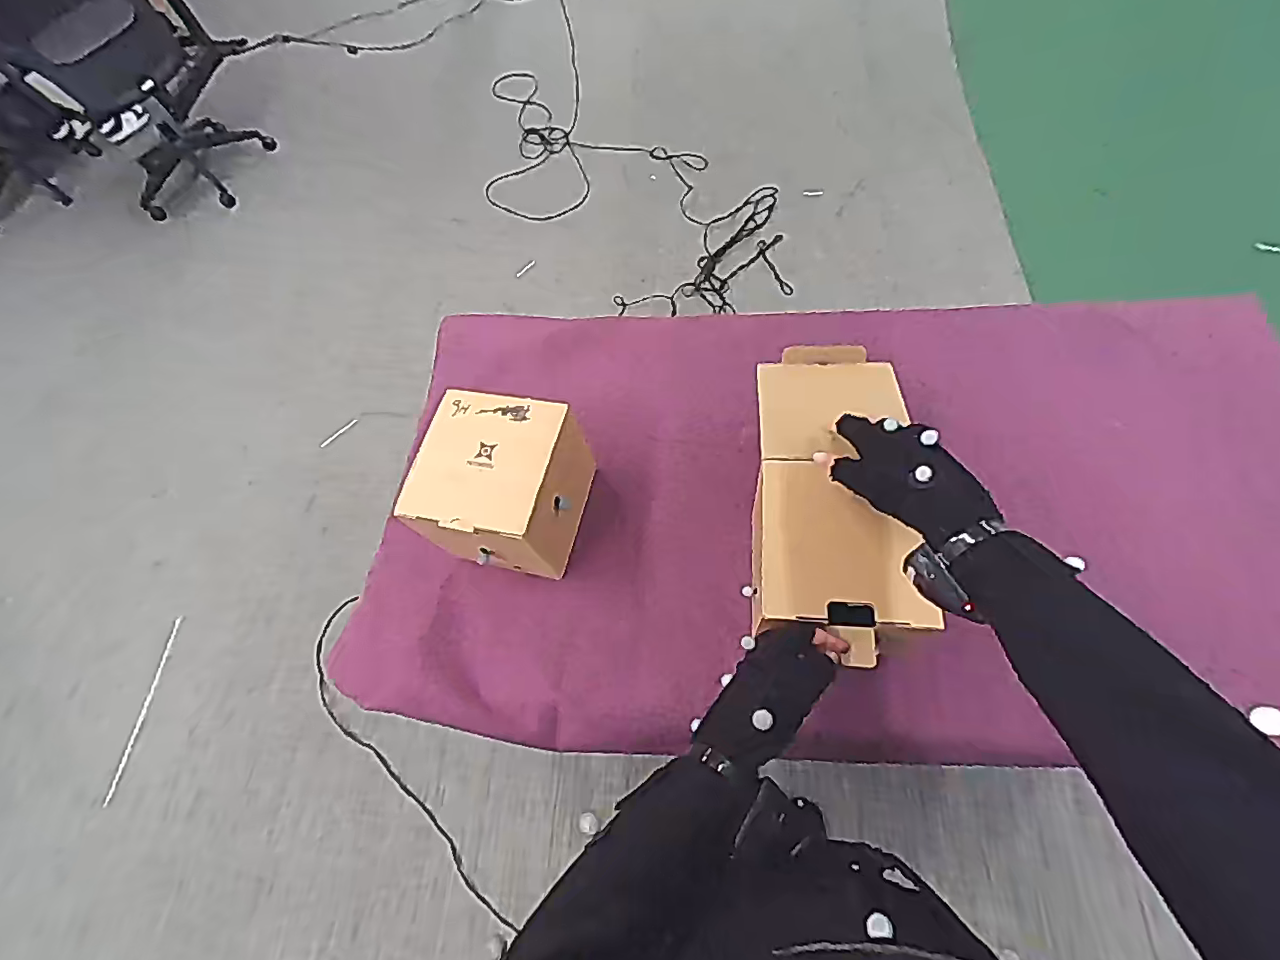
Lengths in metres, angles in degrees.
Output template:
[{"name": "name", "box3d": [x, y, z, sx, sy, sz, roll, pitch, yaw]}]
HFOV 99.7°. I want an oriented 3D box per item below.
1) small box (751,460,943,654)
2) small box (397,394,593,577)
[{"name": "small box", "box3d": [0.214, 0.093, 0.607, 0.168, 0.176, 0.179, 2, 64, 9]}, {"name": "small box", "box3d": [-0.171, 0.014, 0.703, 0.168, 0.176, 0.179, 9, 66, 12]}]
